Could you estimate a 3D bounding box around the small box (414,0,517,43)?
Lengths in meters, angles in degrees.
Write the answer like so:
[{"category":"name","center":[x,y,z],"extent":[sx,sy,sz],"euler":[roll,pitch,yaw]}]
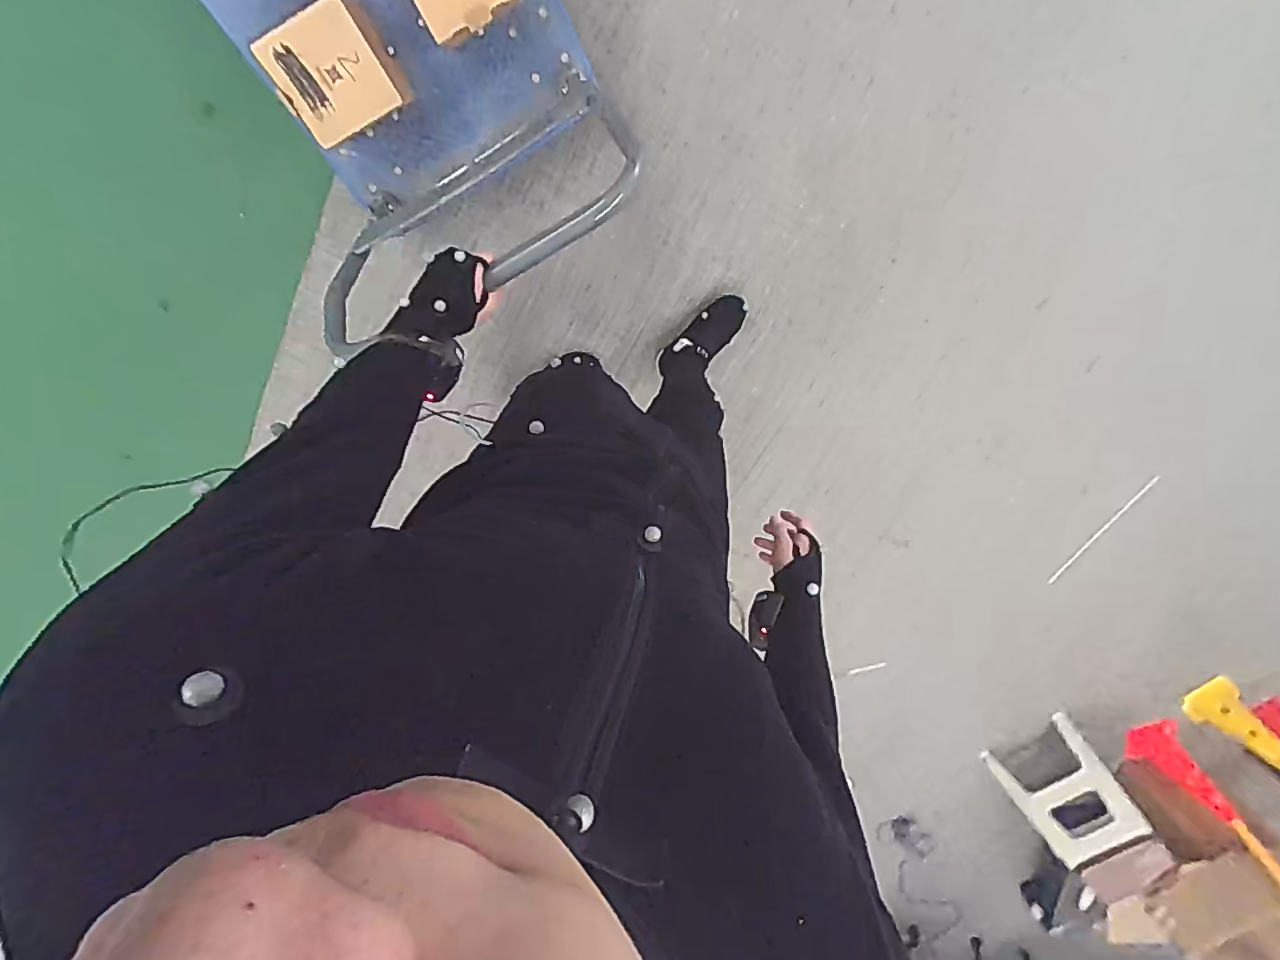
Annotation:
[{"category":"small box","center":[-0.322,-0.882,0.918],"extent":[0.168,0.176,0.179],"euler":[-26,129,9]}]
